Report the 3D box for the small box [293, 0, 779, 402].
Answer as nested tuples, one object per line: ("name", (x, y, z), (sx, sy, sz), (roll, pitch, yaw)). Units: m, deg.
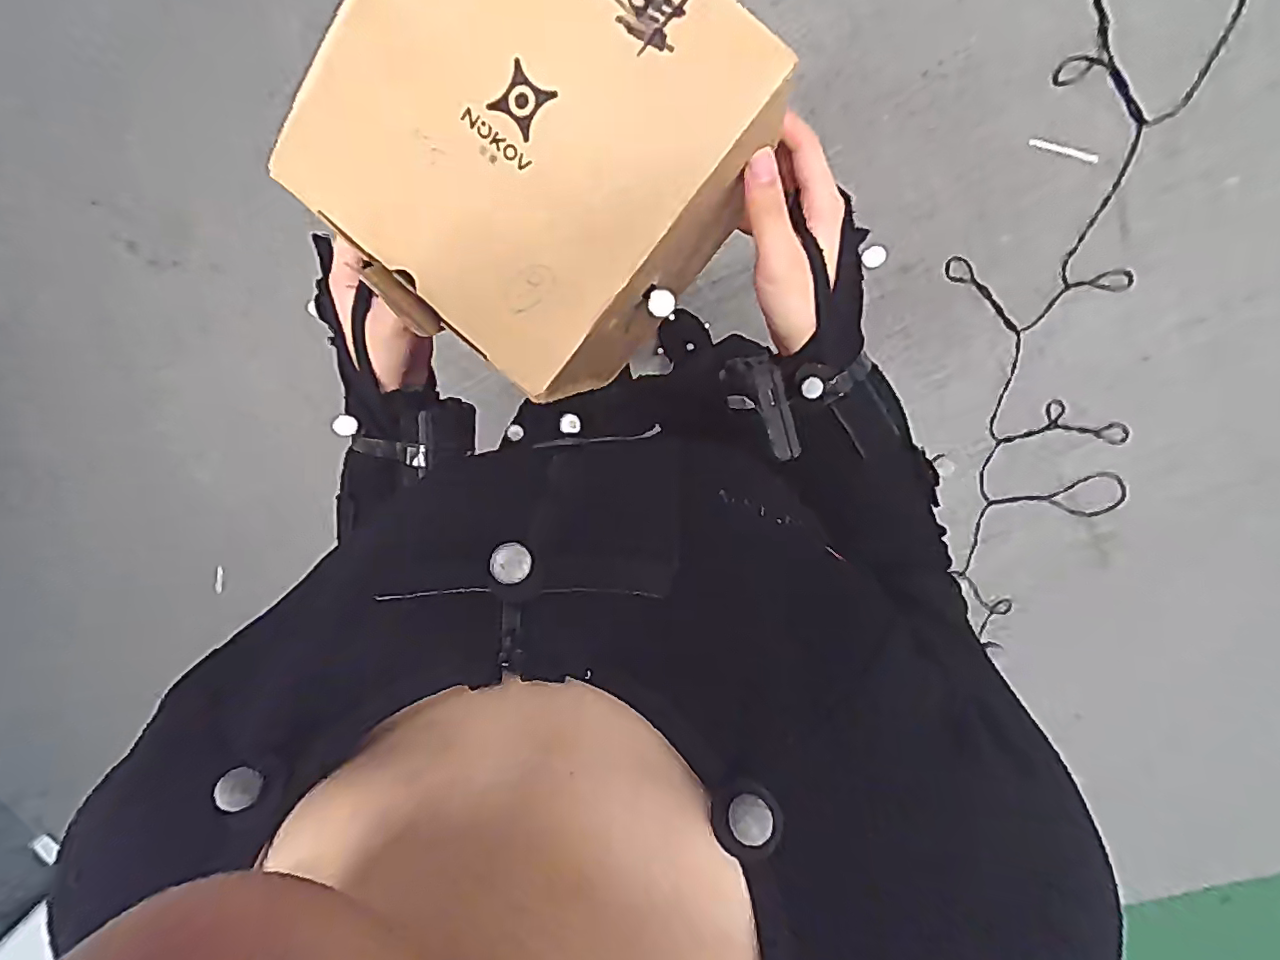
("small box", (-0.041, -0.168, 0.316), (0.168, 0.176, 0.179), (41, 106, -2))
